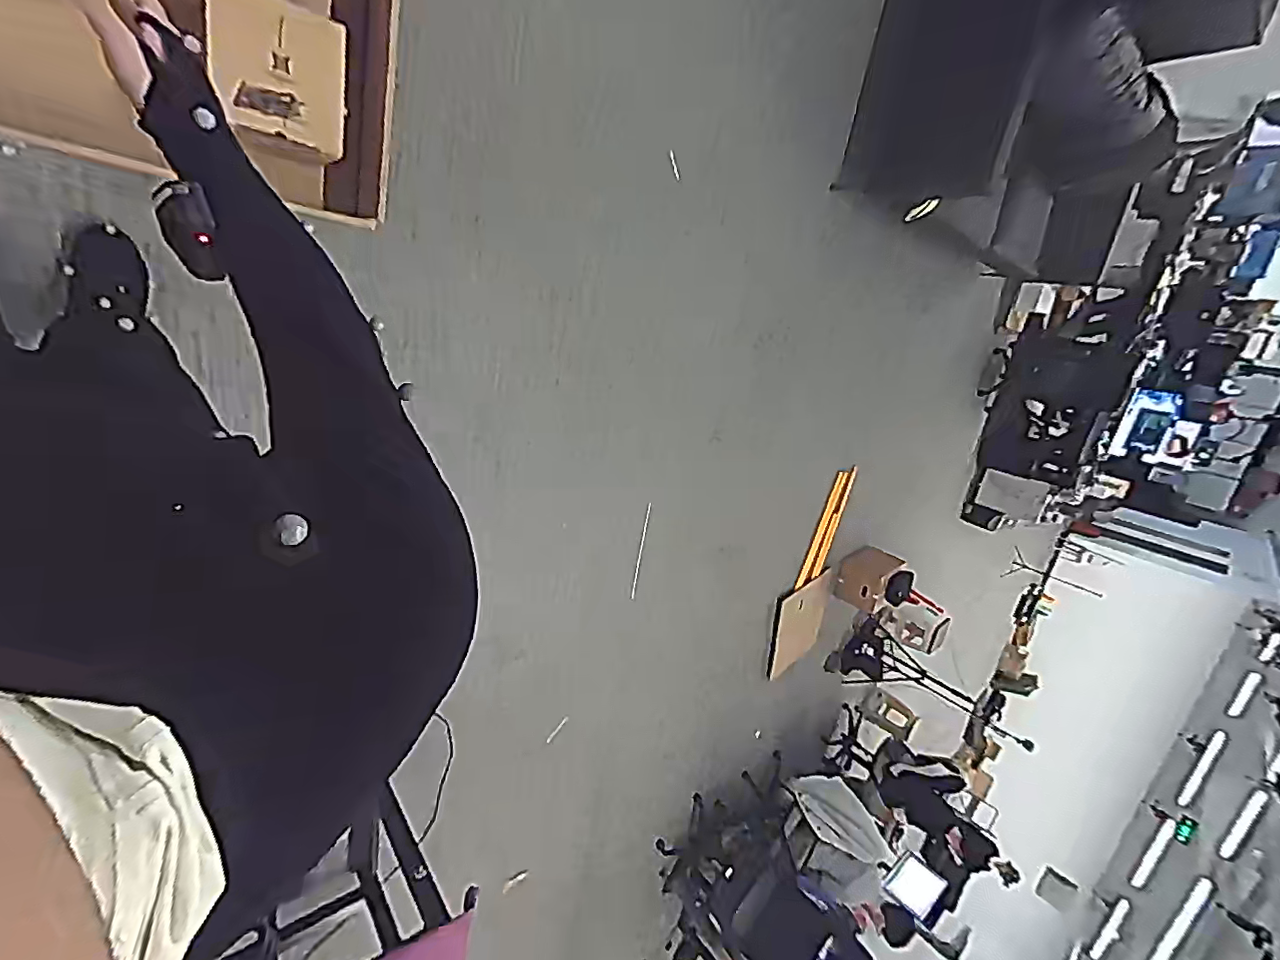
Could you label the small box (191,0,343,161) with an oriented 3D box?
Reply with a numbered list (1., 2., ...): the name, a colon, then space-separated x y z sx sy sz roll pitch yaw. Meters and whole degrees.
1. small box: -0.563 -0.604 0.814 0.168 0.176 0.179 -3 110 -42
